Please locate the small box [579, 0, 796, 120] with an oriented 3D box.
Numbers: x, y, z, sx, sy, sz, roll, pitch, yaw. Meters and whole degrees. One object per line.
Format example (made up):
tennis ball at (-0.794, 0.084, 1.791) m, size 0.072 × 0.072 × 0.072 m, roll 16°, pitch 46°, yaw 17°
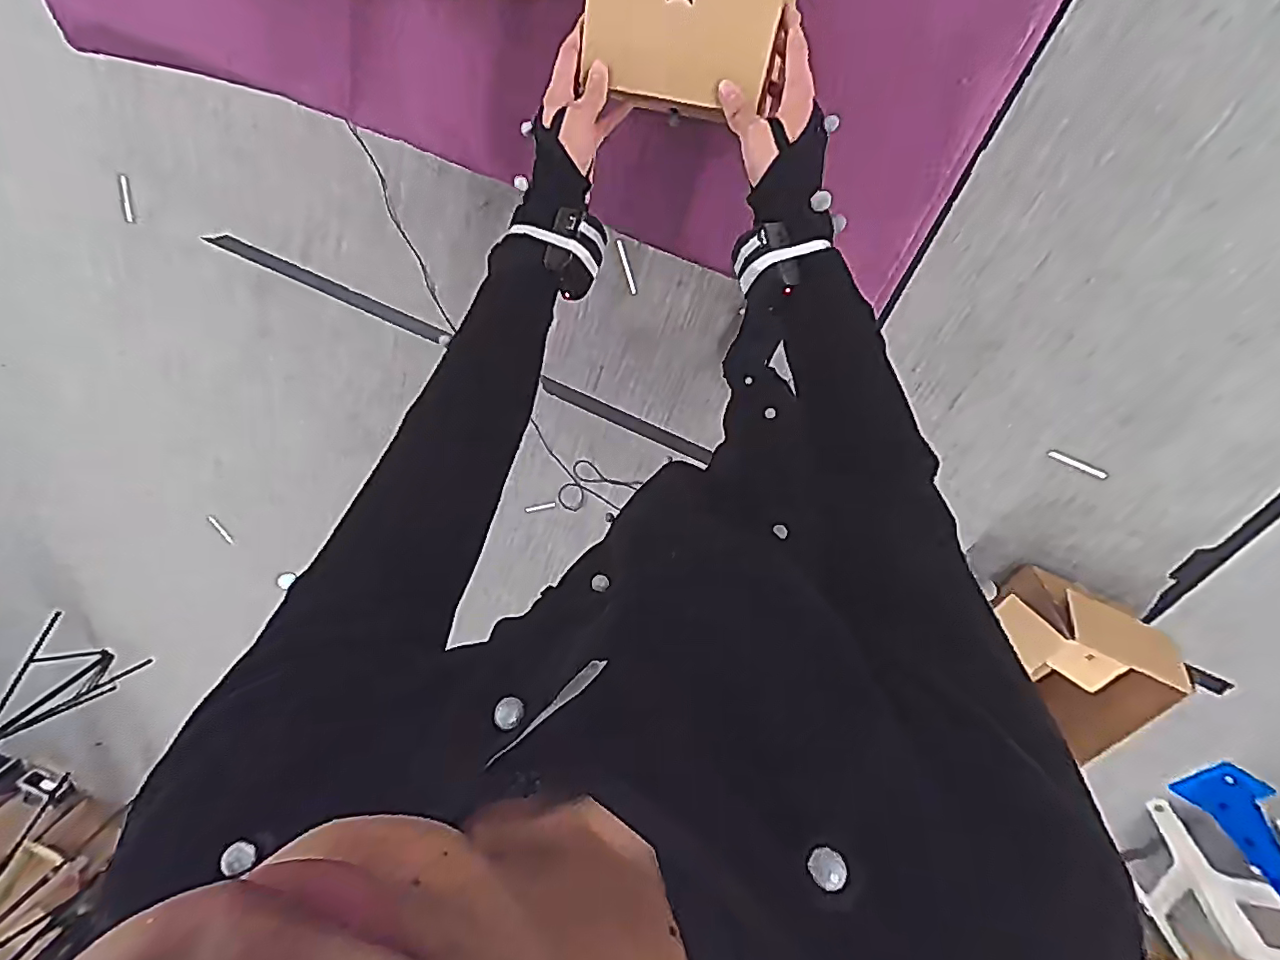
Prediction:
small box at (0.057, -0.447, 0.492) m, size 0.168 × 0.176 × 0.179 m, roll 15°, pitch 121°, yaw 6°
